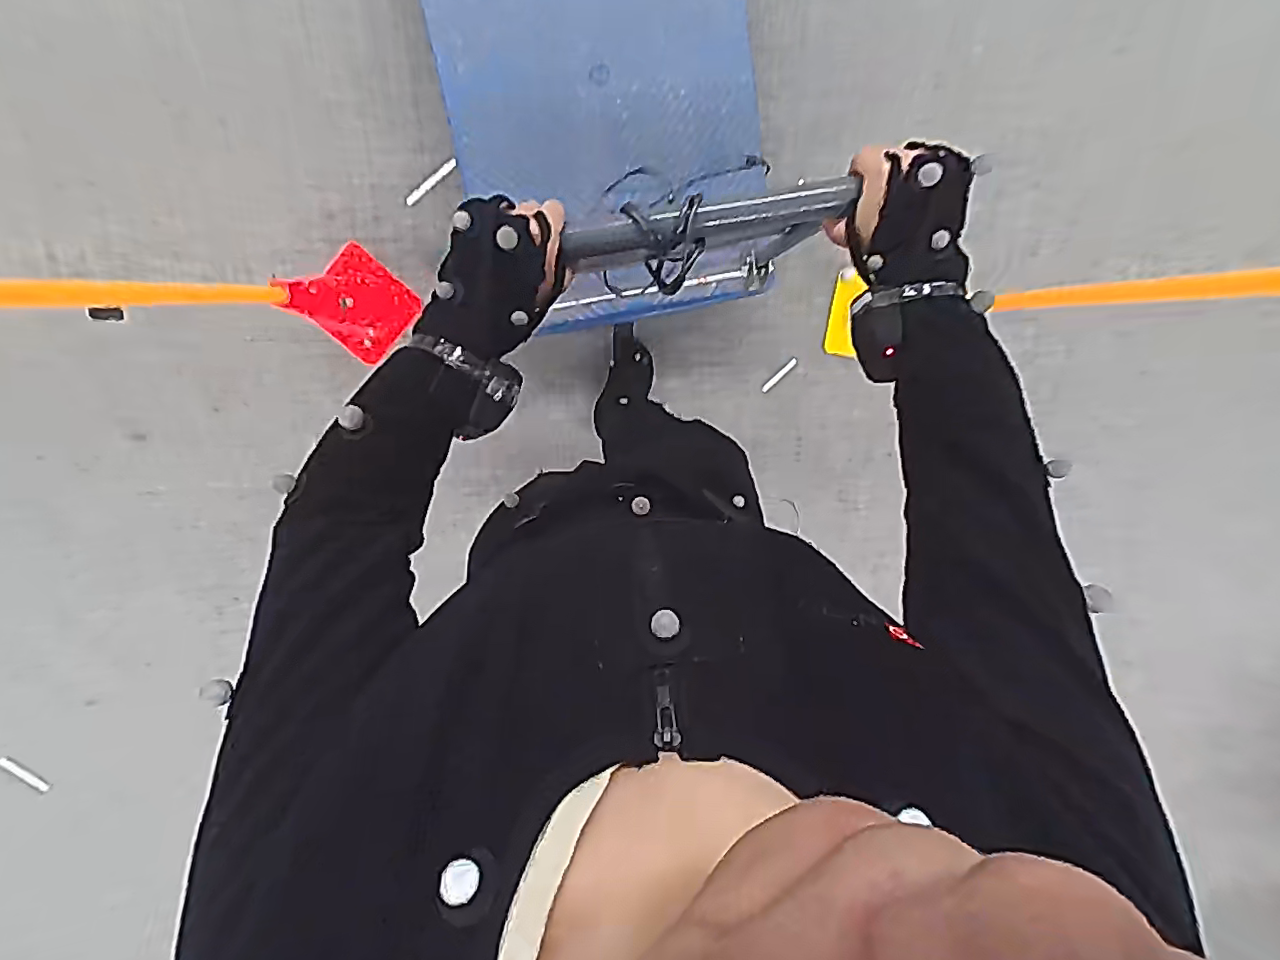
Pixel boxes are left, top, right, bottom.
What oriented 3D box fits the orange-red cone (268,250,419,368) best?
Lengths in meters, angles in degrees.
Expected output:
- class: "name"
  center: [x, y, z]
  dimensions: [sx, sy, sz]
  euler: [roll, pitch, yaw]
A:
- class: "orange-red cone"
  center: [-0.602, -0.337, 1.040]
  dimensions: [0.198, 0.360, 0.199]
  euler: [43, 95, -15]
